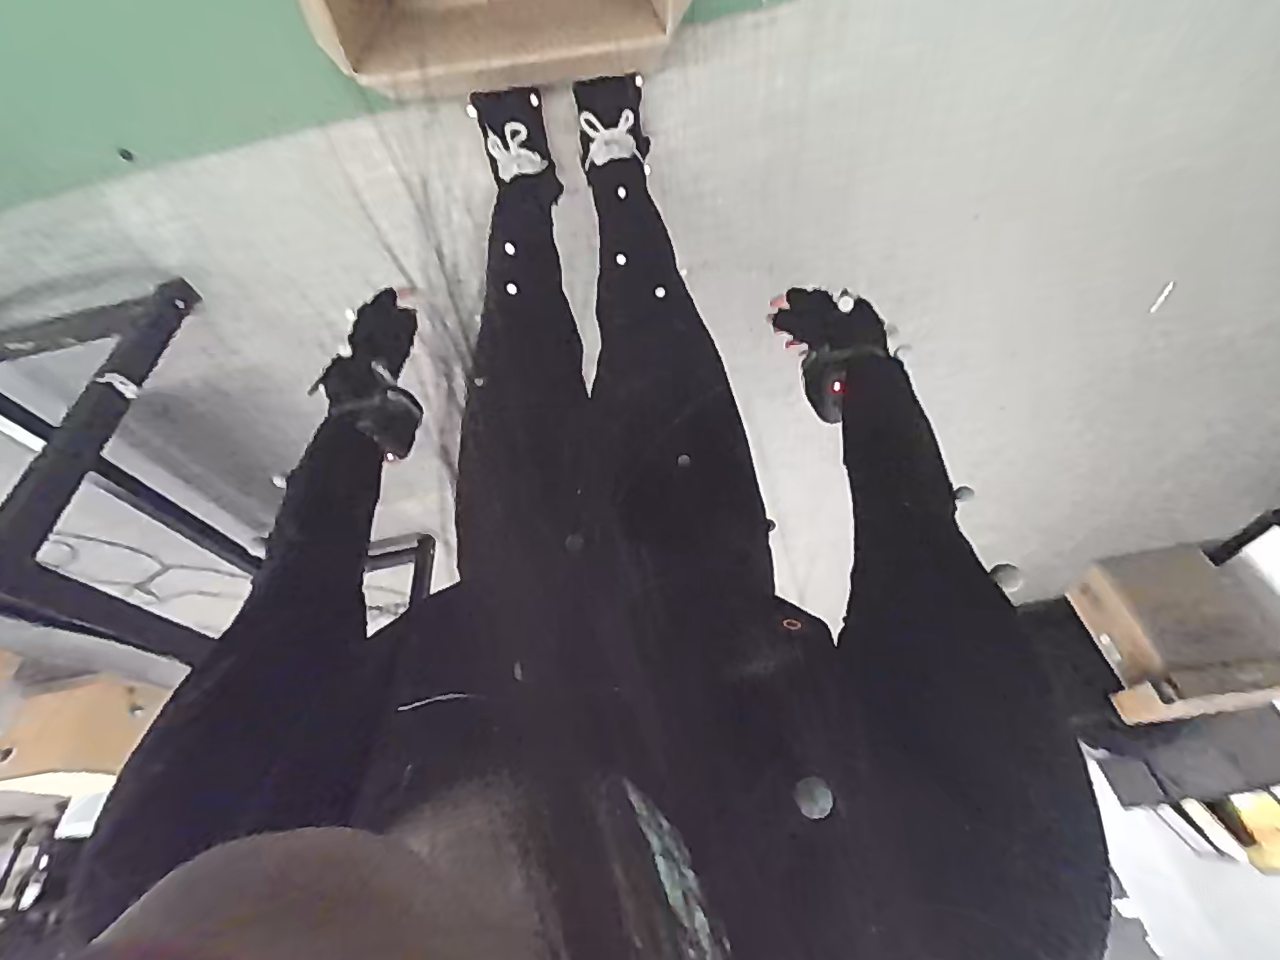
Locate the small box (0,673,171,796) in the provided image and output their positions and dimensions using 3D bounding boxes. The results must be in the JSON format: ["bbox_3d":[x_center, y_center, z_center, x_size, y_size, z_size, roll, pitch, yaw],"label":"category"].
[{"bbox_3d":[-1.046,0.476,1.011,0.179,0.176,0.168,-12,144,5],"label":"small box"}]
